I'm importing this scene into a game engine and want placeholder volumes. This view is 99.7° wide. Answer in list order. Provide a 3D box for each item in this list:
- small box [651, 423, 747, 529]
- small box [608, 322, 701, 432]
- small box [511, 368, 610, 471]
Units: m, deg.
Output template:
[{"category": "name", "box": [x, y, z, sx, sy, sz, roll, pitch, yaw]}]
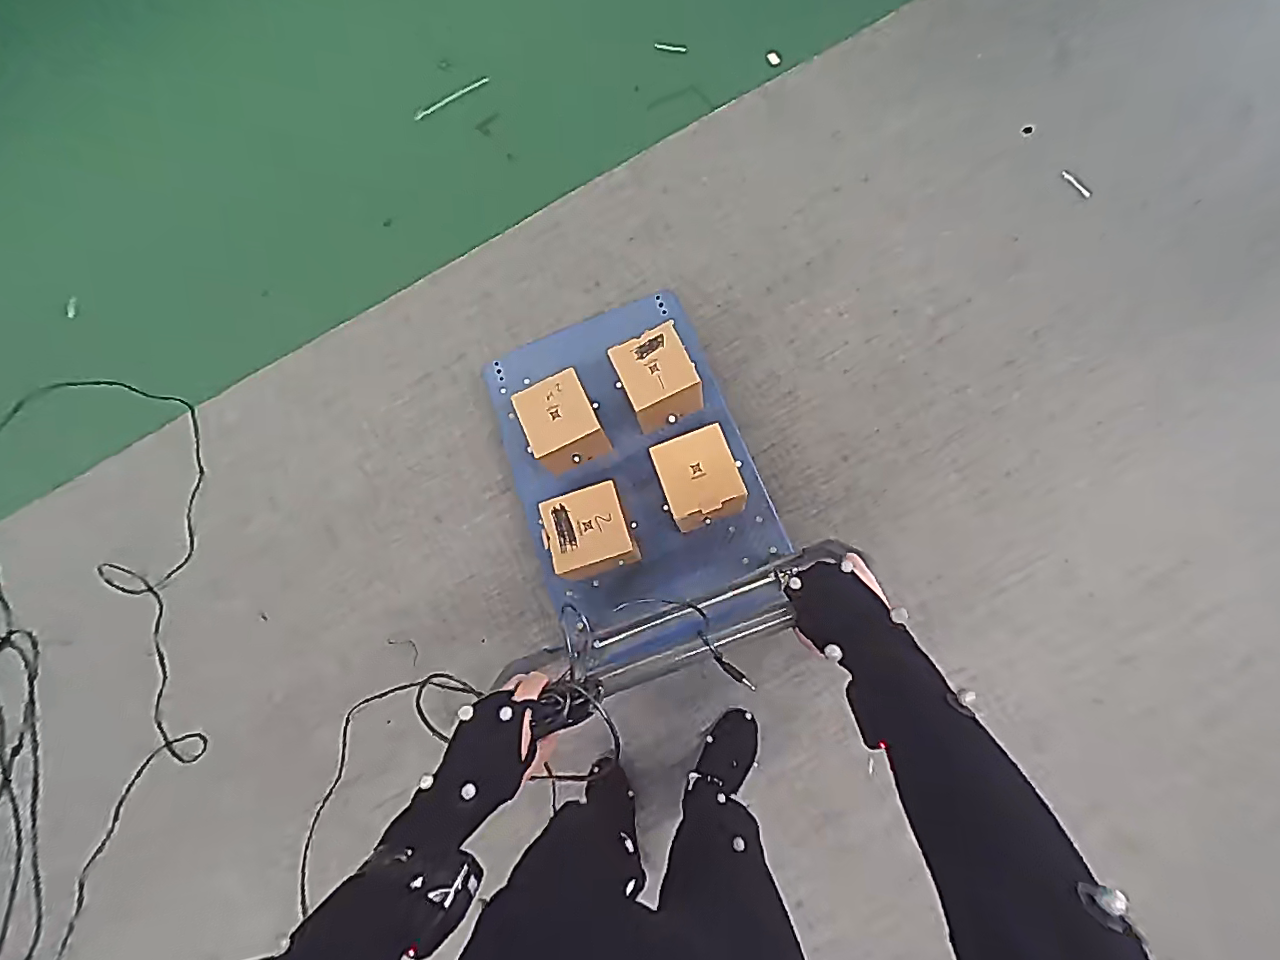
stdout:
[{"category": "small box", "box": [0.133, -0.003, 1.245, 0.168, 0.176, 0.179, -20, 75, 2]}, {"category": "small box", "box": [0.039, -0.245, 1.321, 0.168, 0.176, 0.179, -25, 74, 2]}, {"category": "small box", "box": [-0.187, -0.136, 1.324, 0.168, 0.176, 0.179, -25, 73, 0]}]
